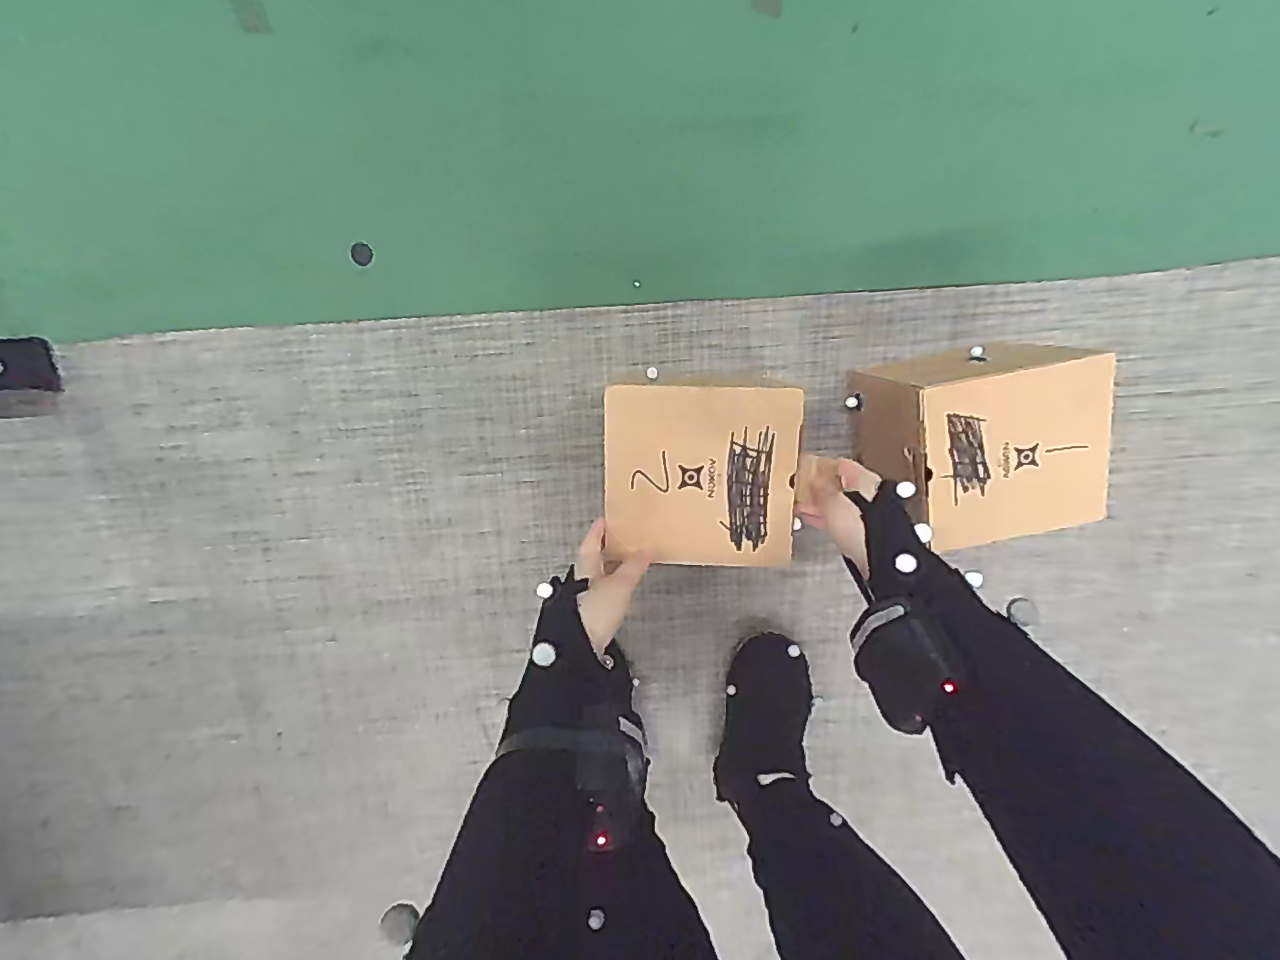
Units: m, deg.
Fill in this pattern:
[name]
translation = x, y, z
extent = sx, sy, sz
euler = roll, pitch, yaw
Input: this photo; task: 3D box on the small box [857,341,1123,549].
[small box]
translation = 0.342, -0.047, 0.566
extent = 0.179, 0.176, 0.168
euler = -11, 107, 0
